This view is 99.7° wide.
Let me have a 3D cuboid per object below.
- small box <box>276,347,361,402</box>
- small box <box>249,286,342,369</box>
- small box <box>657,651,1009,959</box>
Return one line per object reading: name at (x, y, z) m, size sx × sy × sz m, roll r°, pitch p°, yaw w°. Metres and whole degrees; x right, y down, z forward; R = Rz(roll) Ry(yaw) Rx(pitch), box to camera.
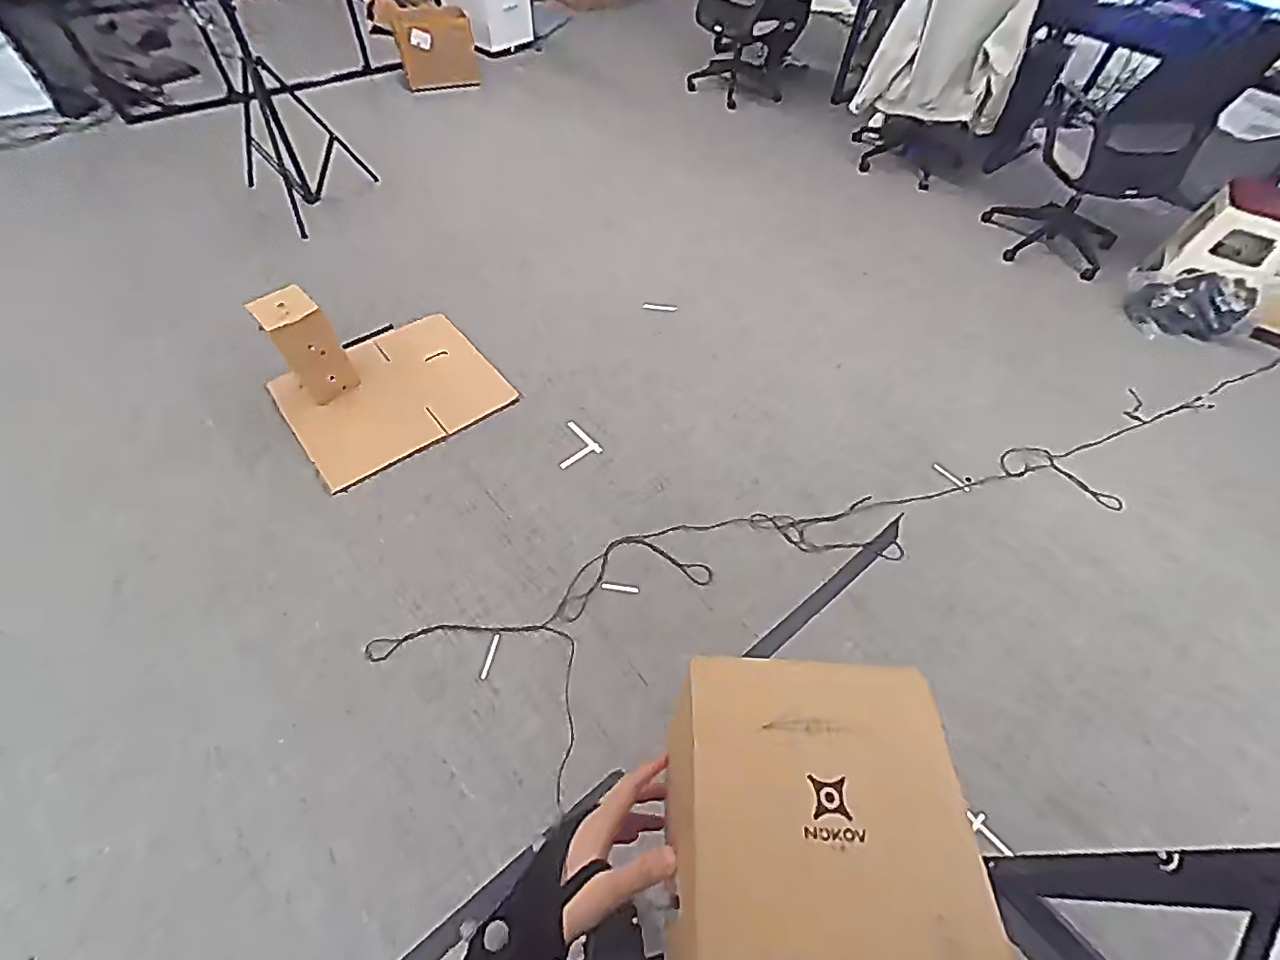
small box at (-1.120, -0.400, 1.899) m, size 0.179 × 0.176 × 0.168 m, roll 38°, pitch 61°, yaw 21°
small box at (-1.117, -0.494, 1.764) m, size 0.179 × 0.176 × 0.168 m, roll 40°, pitch 63°, yaw 22°
small box at (0.103, 0.239, 0.376) m, size 0.168 × 0.176 × 0.179 m, roll 4°, pitch 49°, yaw -3°
